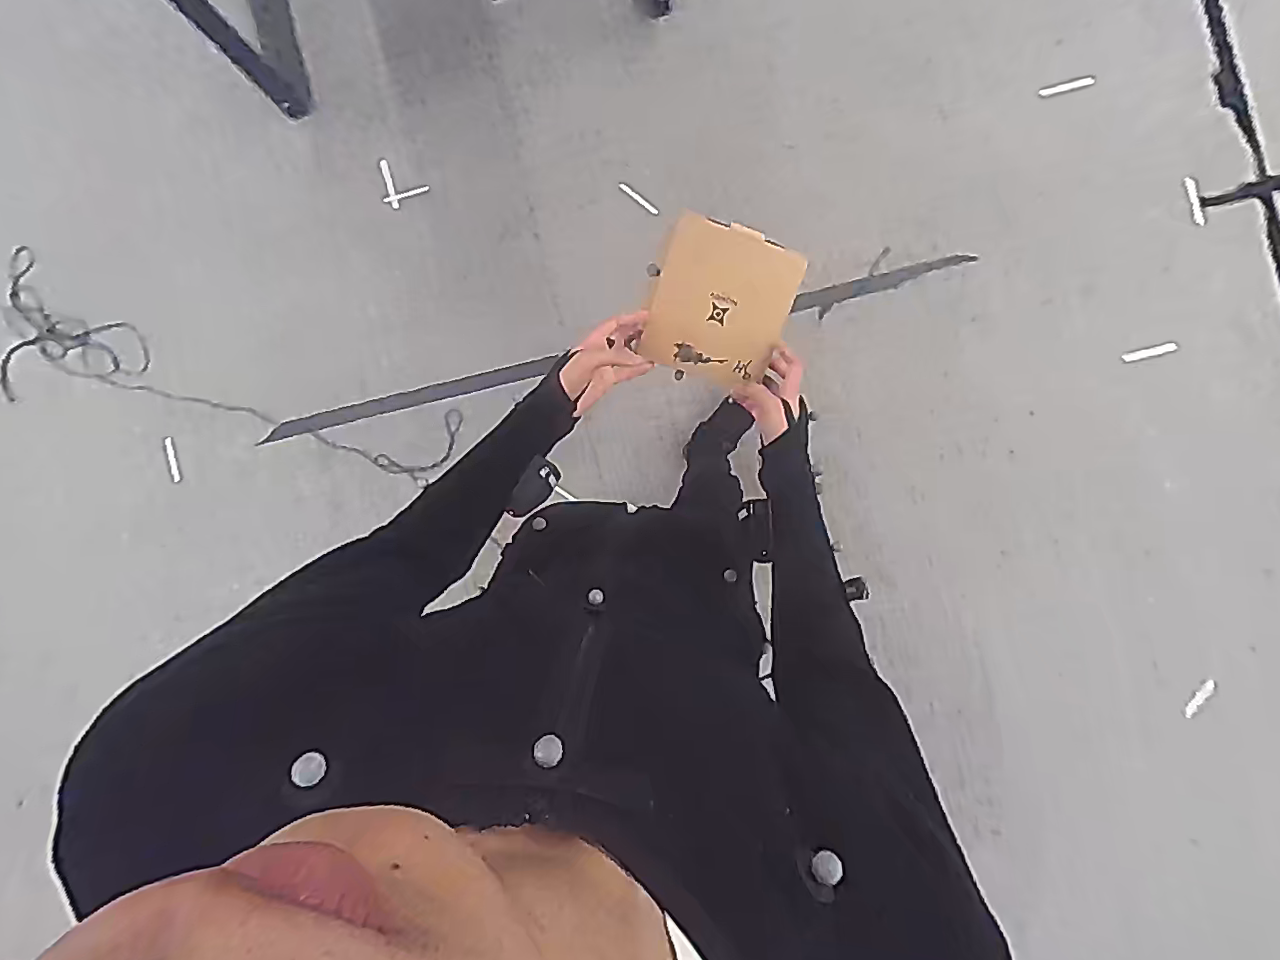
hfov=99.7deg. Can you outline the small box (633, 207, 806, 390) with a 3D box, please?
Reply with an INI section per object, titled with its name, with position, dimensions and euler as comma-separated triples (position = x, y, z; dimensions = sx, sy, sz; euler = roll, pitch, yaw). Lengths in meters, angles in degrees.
[small box]
position = 0.091, -0.242, 0.729
dimensions = 0.168, 0.176, 0.179
euler = 15, 110, -10
